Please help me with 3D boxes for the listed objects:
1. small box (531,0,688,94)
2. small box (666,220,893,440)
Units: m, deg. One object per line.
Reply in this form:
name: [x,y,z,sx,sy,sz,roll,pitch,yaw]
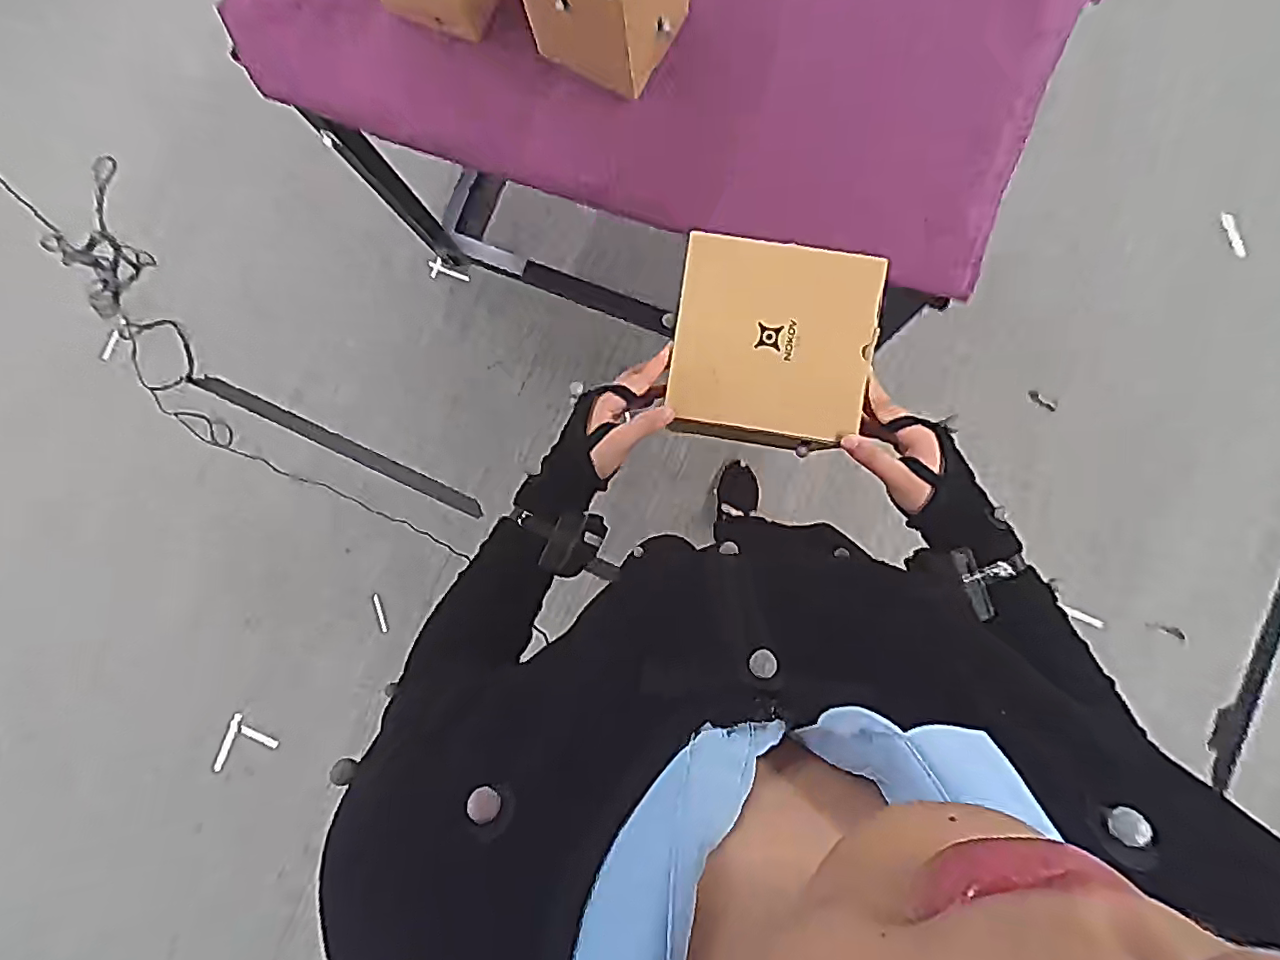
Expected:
small box: [-0.044,-0.693,0.752,0.179,0.176,0.168,30,89,6]
small box: [0.123,-0.134,0.547,0.179,0.176,0.168,8,92,2]
